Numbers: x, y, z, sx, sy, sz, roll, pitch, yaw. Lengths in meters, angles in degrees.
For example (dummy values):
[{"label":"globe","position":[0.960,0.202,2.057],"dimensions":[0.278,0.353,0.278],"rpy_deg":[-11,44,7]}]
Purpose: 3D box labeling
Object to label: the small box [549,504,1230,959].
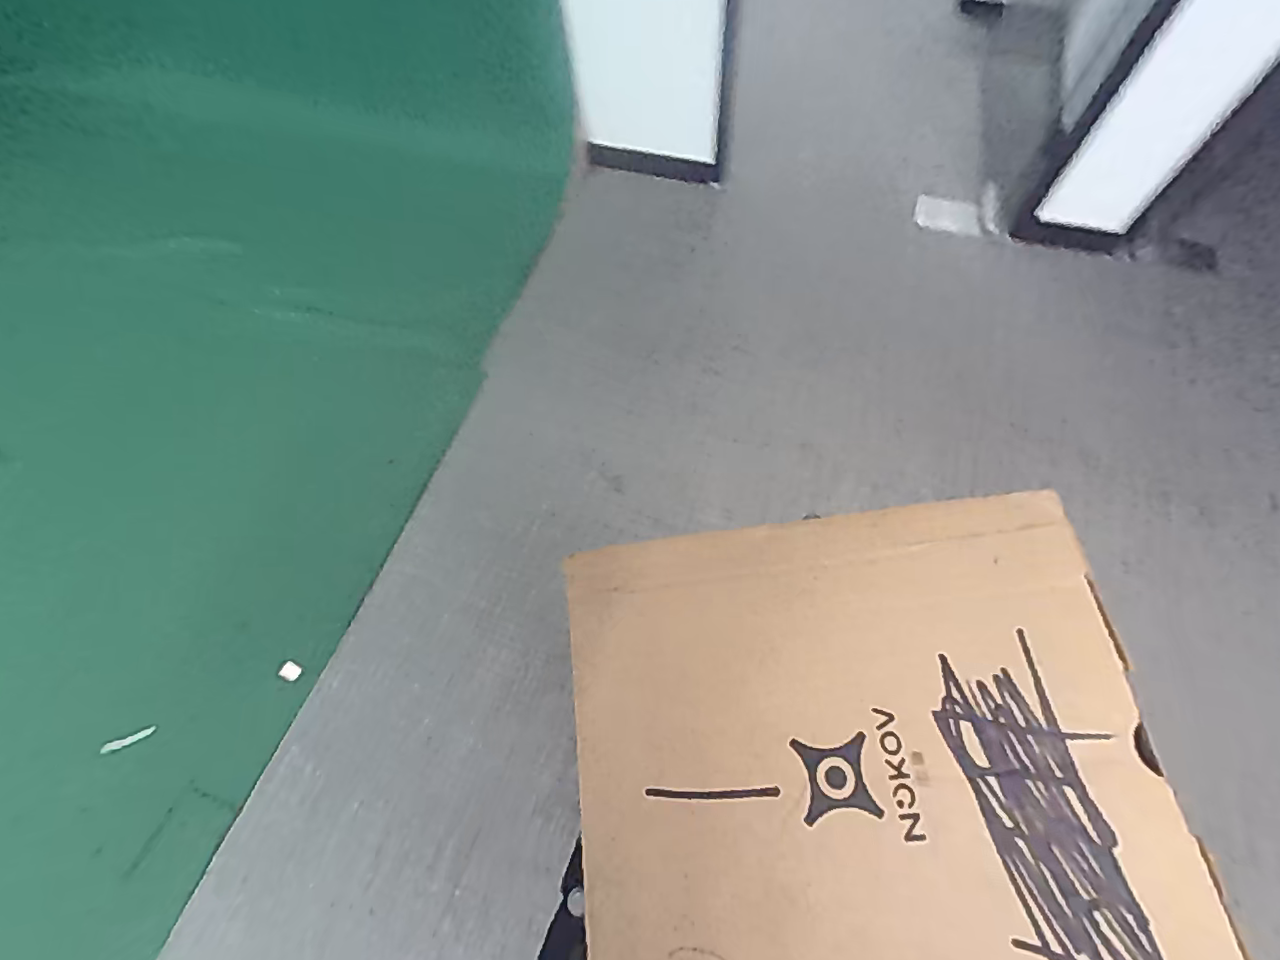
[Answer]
[{"label":"small box","position":[0.069,0.122,0.233],"dimensions":[0.179,0.176,0.168],"rpy_deg":[-8,67,3]}]
